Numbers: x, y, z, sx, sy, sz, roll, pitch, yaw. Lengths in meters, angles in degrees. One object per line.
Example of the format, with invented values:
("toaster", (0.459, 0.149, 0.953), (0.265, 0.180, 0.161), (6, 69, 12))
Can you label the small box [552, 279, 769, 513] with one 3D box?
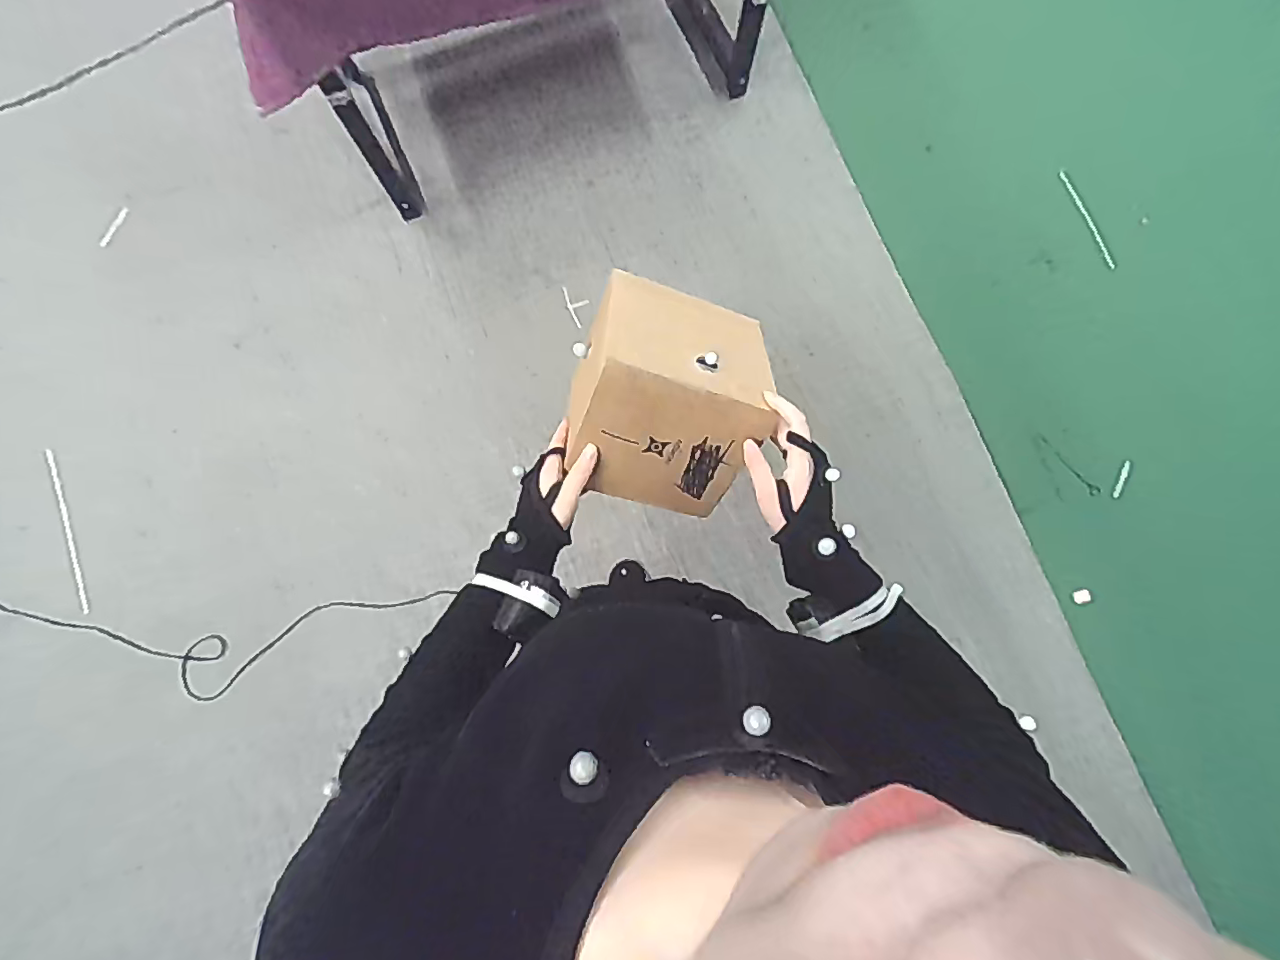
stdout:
("small box", (0.015, -0.092, 0.594), (0.179, 0.168, 0.176), (14, 45, -14))
